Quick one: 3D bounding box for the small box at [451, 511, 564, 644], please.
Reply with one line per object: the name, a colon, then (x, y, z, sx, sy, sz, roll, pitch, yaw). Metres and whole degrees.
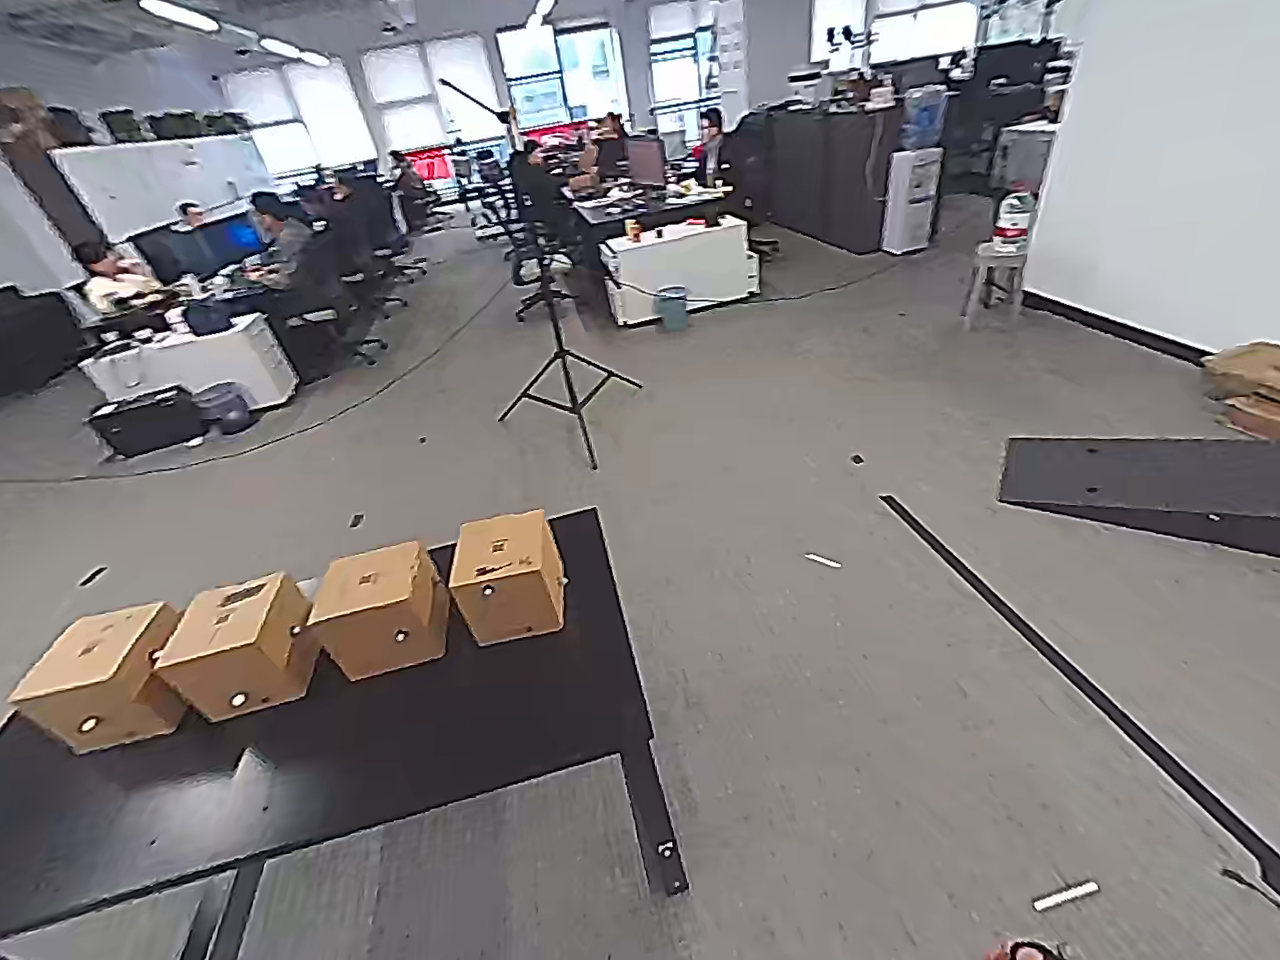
small box: (-0.248, 0.189, 1.058, 0.168, 0.176, 0.179, -12, 35, -1)

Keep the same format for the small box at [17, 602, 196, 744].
small box: (-0.939, 0.359, 0.997, 0.168, 0.176, 0.179, -12, 35, -4)

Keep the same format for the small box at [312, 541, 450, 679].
small box: (-0.481, 0.249, 1.038, 0.179, 0.176, 0.168, -15, 34, -5)

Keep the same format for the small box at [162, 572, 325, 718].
small box: (-0.721, 0.308, 1.014, 0.168, 0.176, 0.179, -15, 36, -6)
